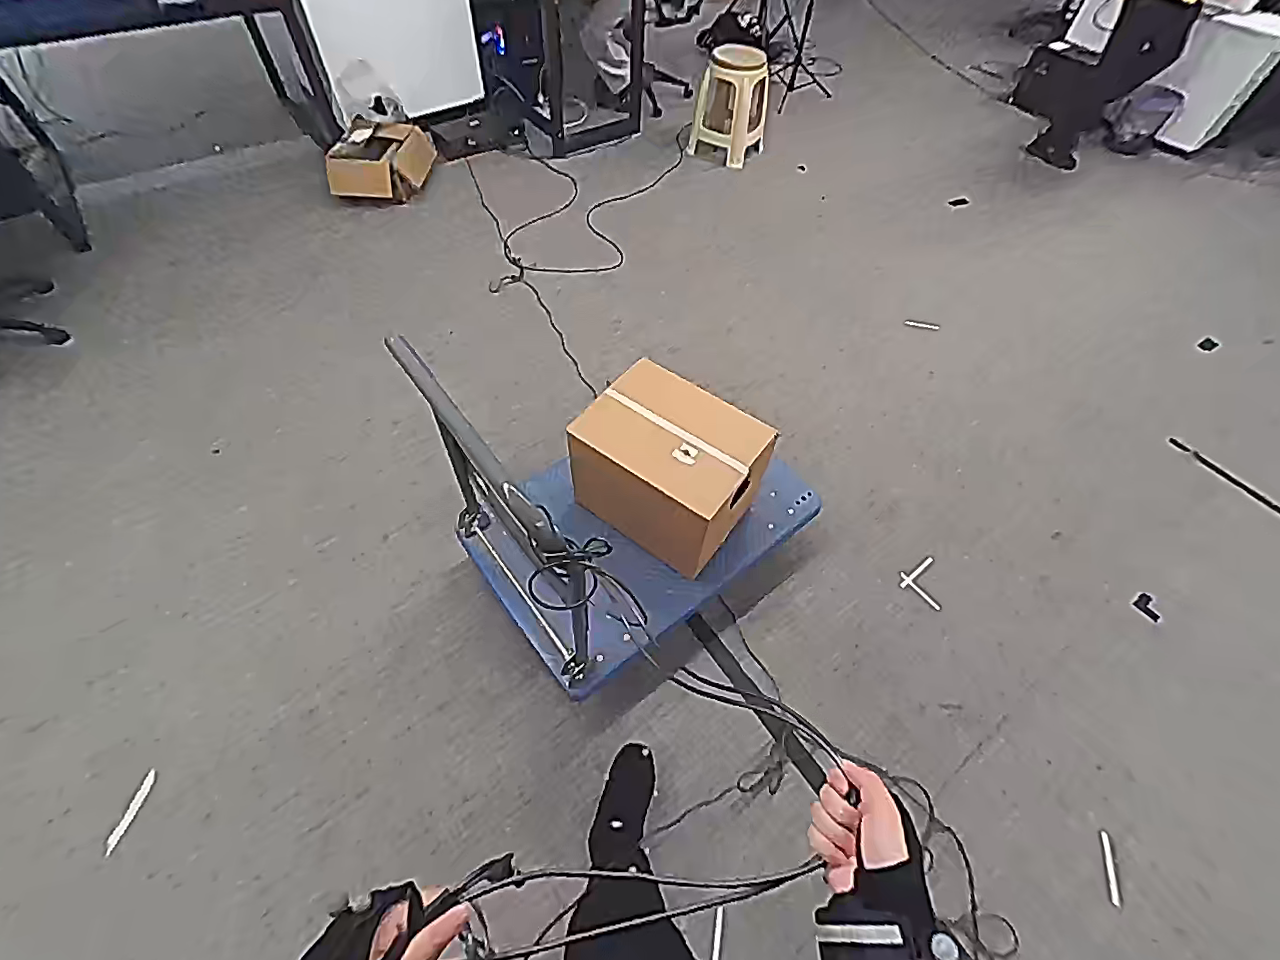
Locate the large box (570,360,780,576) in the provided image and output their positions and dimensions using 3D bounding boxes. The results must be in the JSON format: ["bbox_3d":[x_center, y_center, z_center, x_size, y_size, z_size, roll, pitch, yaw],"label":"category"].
[{"bbox_3d":[0.074,-0.031,1.381,0.408,0.320,0.320,33,61,17],"label":"large box"}]
